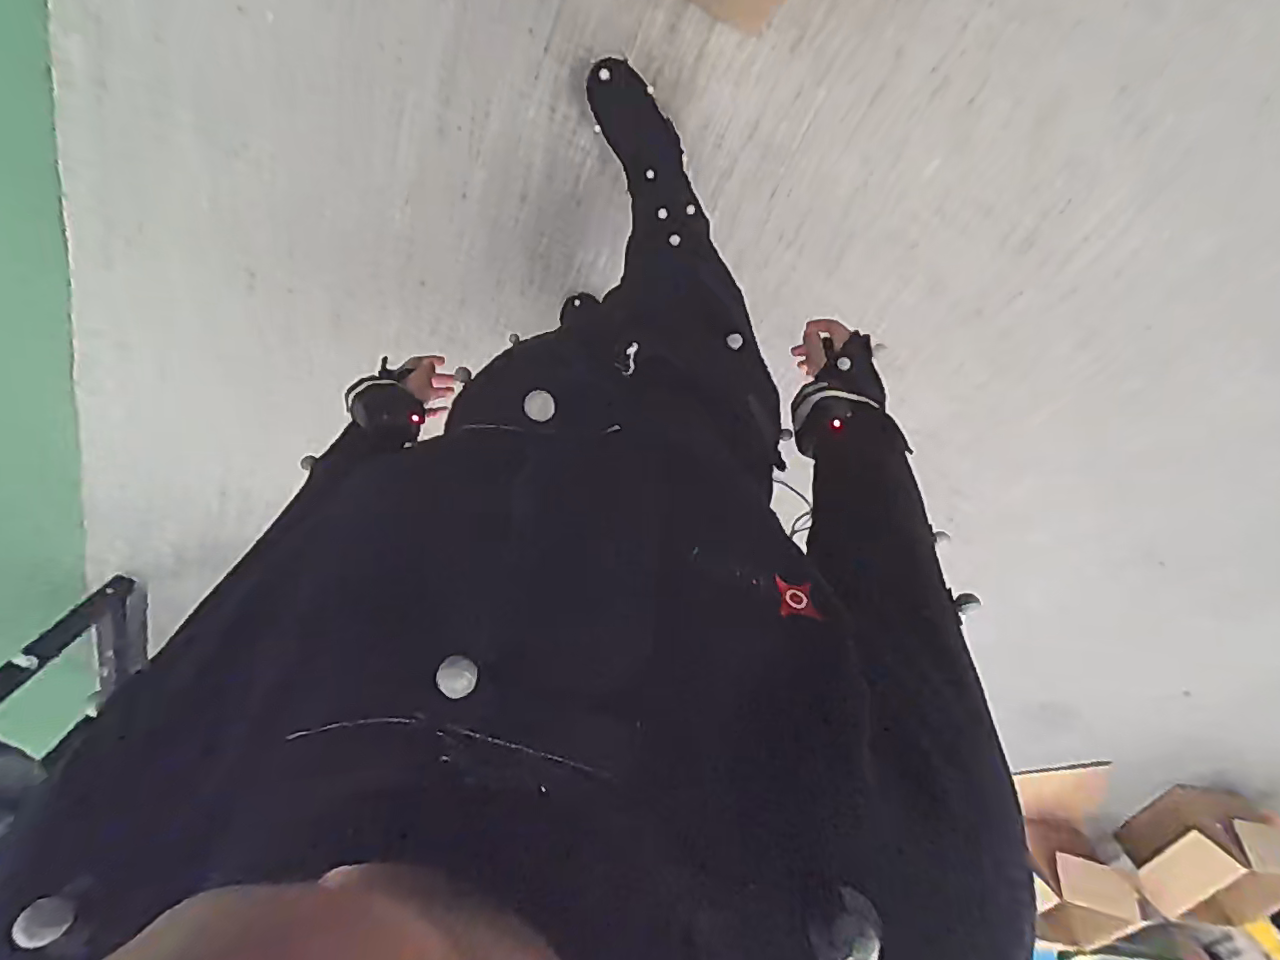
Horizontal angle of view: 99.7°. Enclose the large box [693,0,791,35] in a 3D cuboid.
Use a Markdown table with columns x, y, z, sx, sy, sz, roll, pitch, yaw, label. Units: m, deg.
| x | y | z | sx | sy | sz | roll | pitch | yaw | label |
| --- | --- | --- | --- | --- | --- | --- | --- | --- | --- |
| 0.091 | -0.918 | 0.747 | 0.408 | 0.320 | 0.320 | 21 | 119 | -13 | large box |
